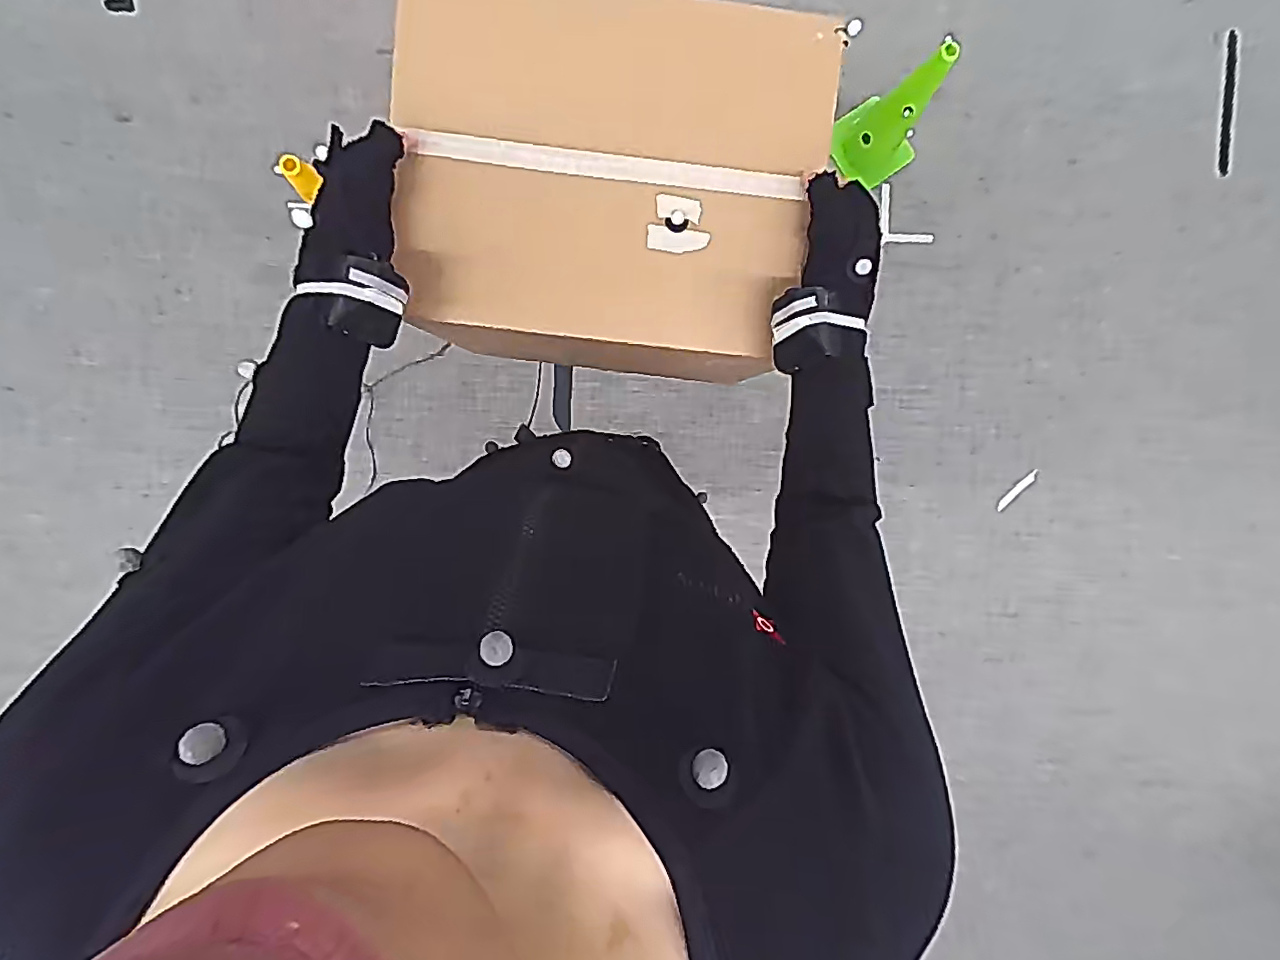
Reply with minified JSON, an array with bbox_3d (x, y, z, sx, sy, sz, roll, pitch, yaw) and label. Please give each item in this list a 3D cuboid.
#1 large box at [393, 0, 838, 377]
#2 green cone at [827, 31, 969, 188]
[{"bbox_3d":[-0.033,-0.311,0.656,0.408,0.320,0.320,6,96,-3],"label":"large box"},{"bbox_3d":[0.638,-0.907,1.287,0.202,0.368,0.200,-36,96,-2],"label":"green cone"}]
